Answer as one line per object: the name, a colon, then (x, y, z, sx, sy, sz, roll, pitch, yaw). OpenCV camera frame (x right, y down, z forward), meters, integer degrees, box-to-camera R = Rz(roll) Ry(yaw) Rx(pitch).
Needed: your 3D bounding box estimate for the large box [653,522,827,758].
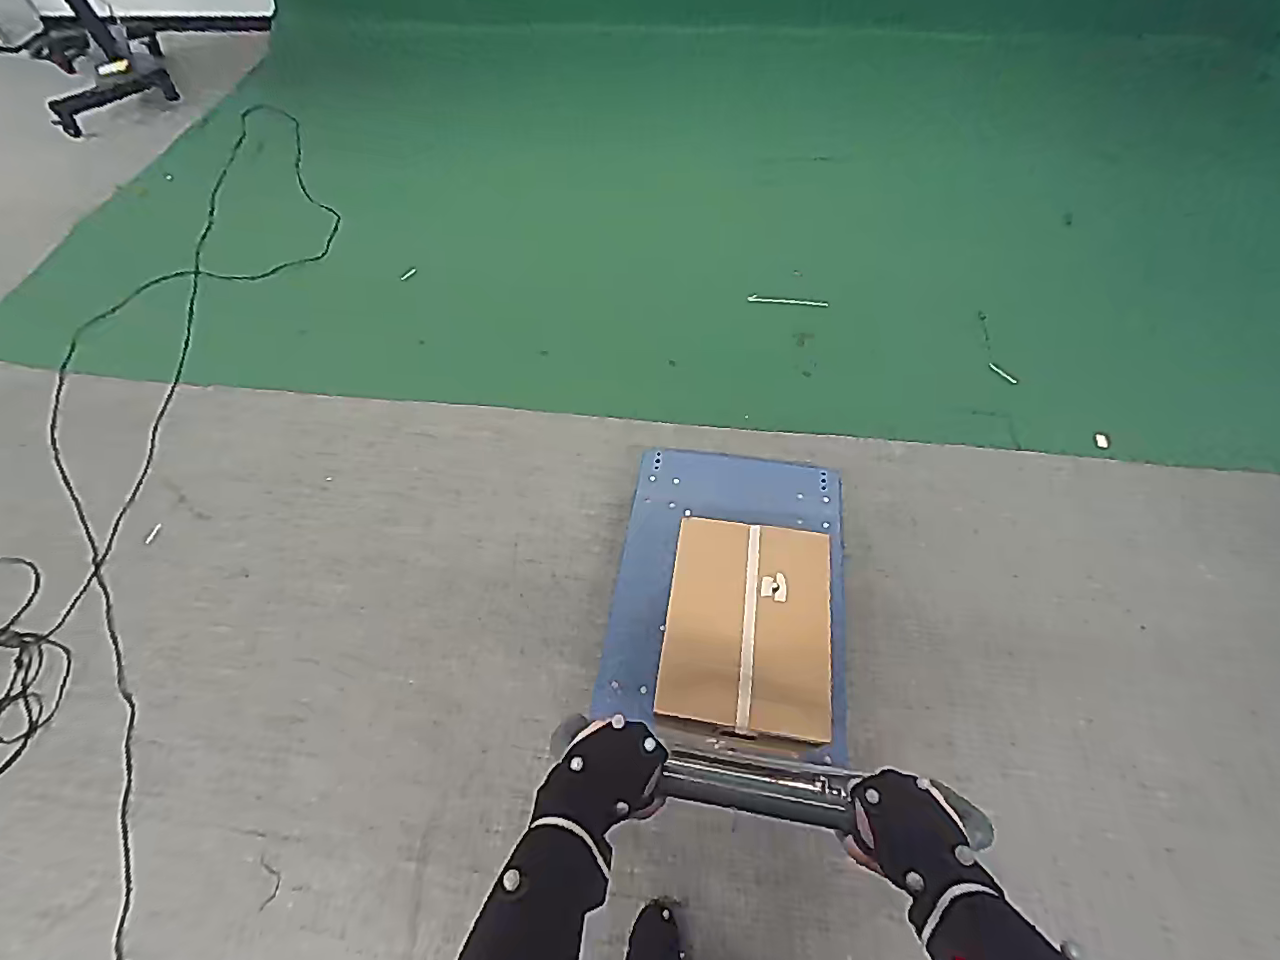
large box: (0.208, 0.354, 1.183, 0.320, 0.320, 0.408, 7, 58, 6)
